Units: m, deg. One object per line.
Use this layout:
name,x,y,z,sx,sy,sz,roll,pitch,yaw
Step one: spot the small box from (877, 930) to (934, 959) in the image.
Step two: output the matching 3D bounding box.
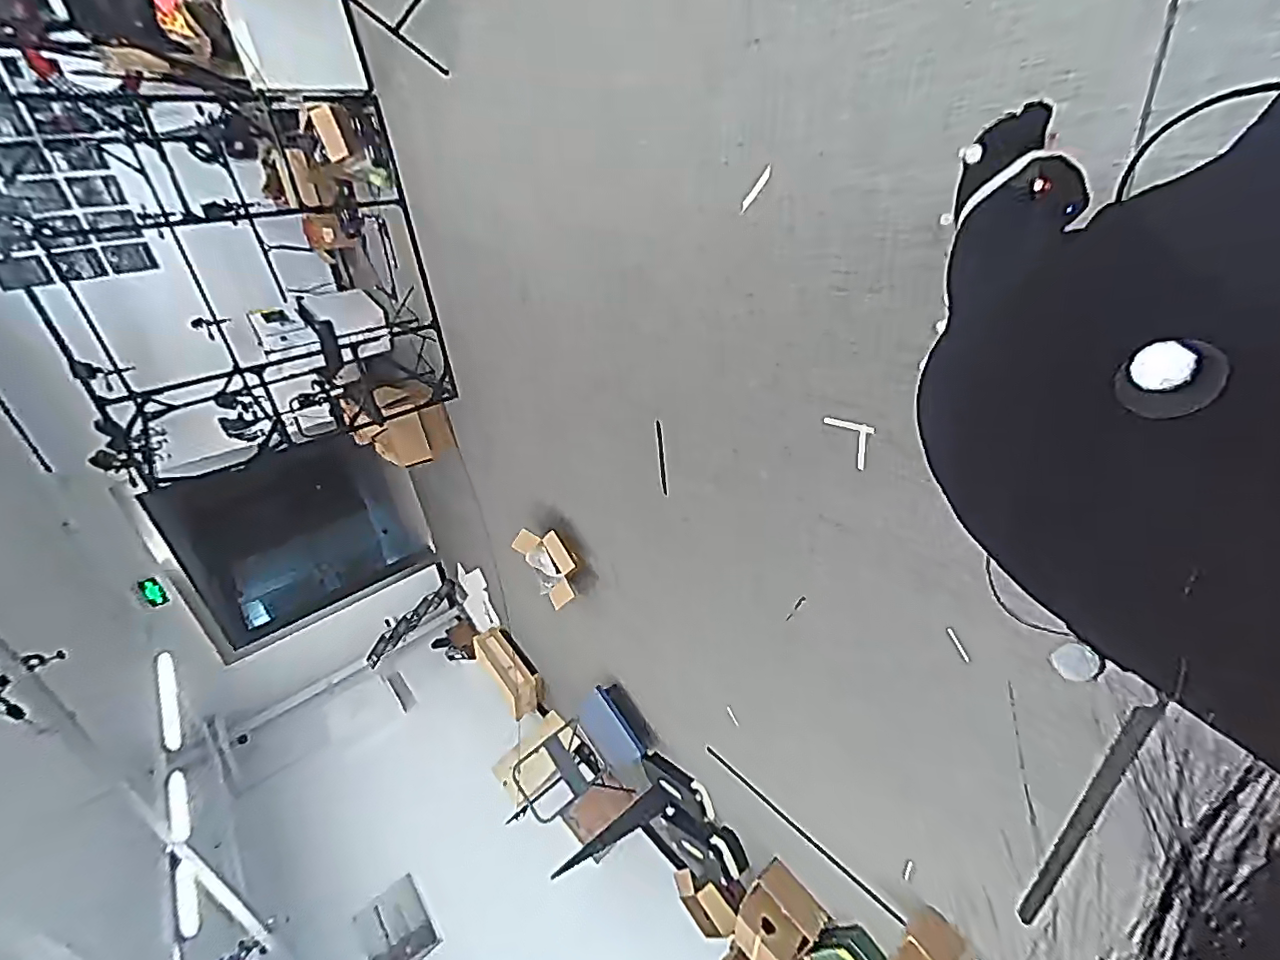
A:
small box,1.132,2.063,2.283,0.179,0.176,0.168,40,141,34

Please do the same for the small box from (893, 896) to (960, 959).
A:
small box,1.252,1.975,2.358,0.179,0.176,0.168,42,143,32
